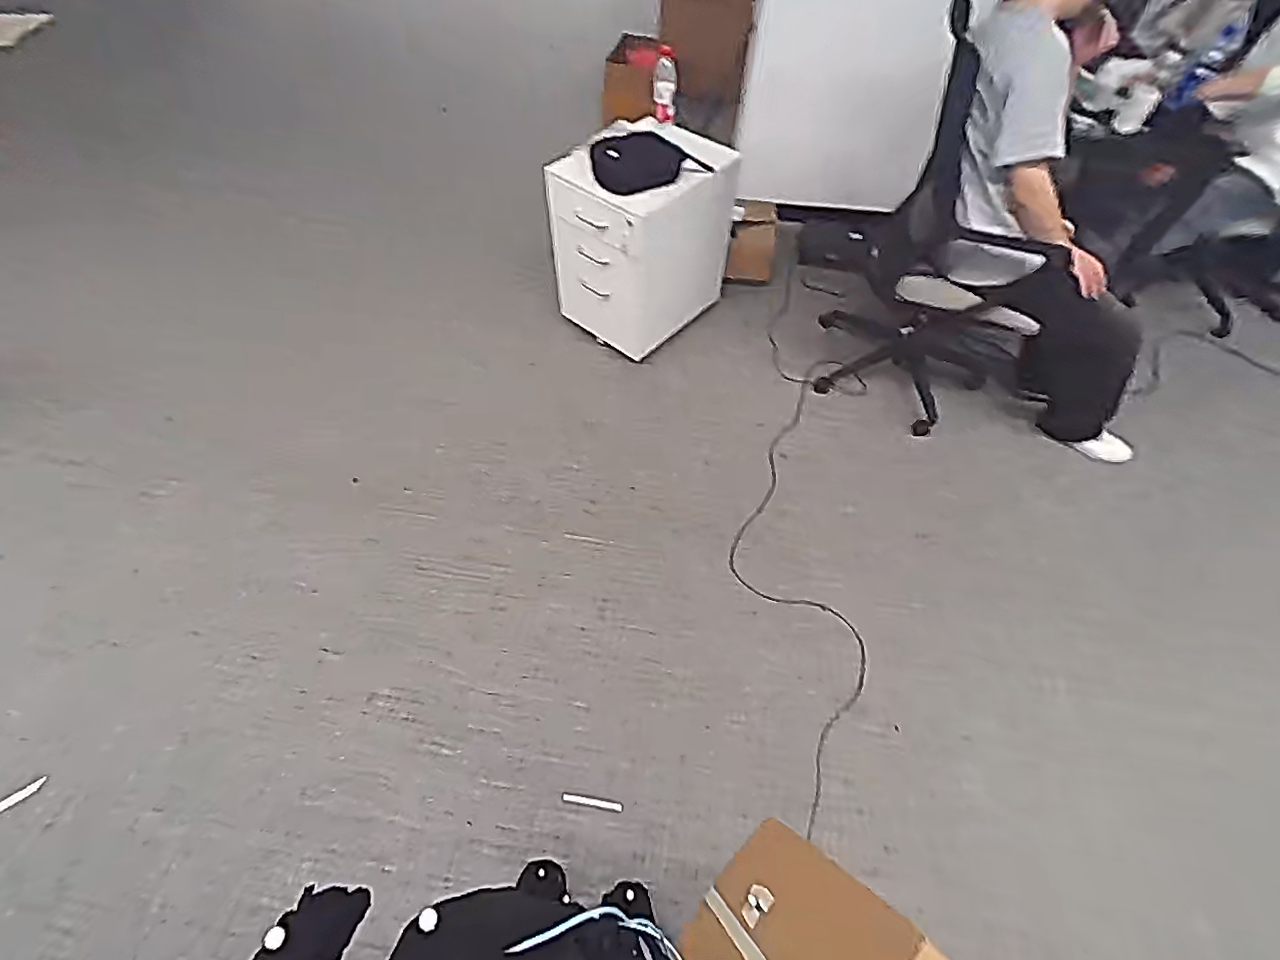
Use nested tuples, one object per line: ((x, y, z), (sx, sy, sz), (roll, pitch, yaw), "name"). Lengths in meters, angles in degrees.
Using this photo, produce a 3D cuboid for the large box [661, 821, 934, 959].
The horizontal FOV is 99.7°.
((0.251, 0.736, 0.691), (0.320, 0.408, 0.320), (45, 72, 5), "large box")
